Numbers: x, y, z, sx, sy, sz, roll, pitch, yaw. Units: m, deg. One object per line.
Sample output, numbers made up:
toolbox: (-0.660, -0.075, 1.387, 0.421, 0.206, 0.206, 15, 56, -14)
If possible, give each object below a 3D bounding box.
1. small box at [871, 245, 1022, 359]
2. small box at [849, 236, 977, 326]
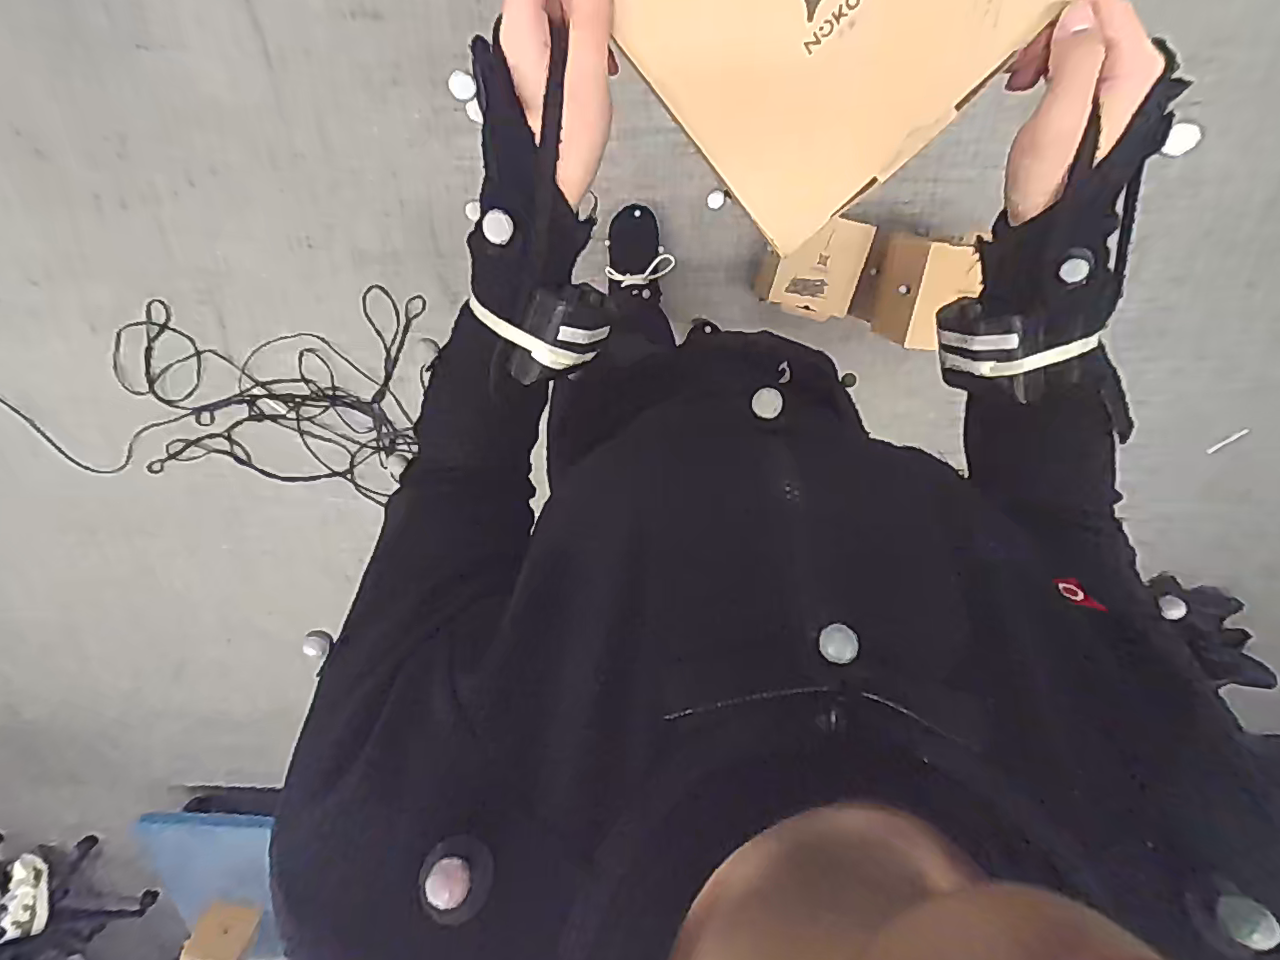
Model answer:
small box: (0.550, -0.334, 1.002, 0.168, 0.176, 0.179, 4, 114, -1)
small box: (0.564, -0.413, 1.145, 0.168, 0.176, 0.179, 4, 113, -1)
